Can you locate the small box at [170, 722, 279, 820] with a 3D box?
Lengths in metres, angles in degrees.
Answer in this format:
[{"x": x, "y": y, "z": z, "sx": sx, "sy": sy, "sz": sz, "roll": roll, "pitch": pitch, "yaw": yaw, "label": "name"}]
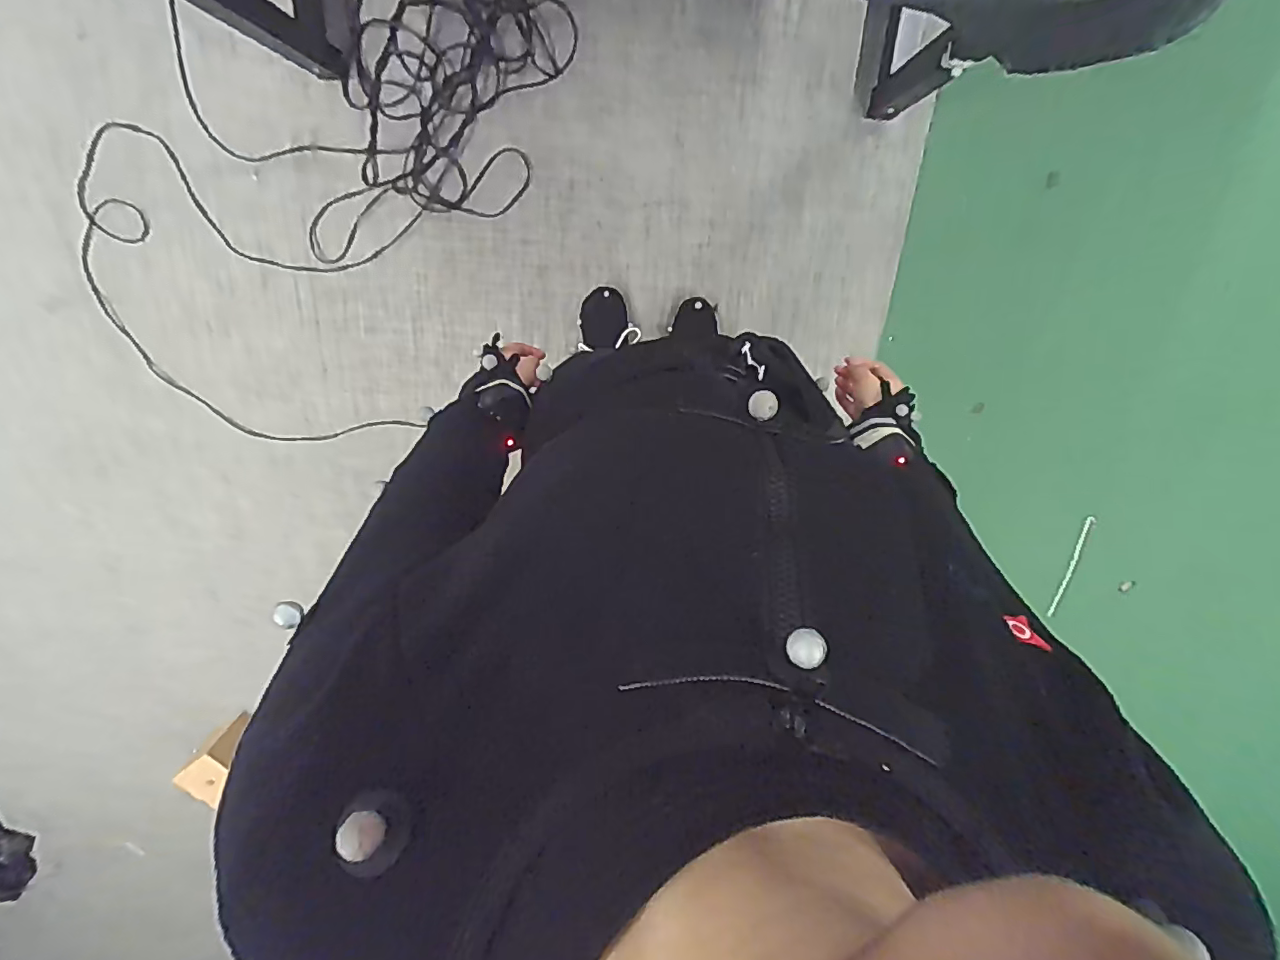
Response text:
[{"x": -1.275, "y": 0.894, "z": 1.673, "sx": 0.179, "sy": 0.176, "sz": 0.168, "roll": -38, "pitch": 107, "yaw": 13, "label": "small box"}]
